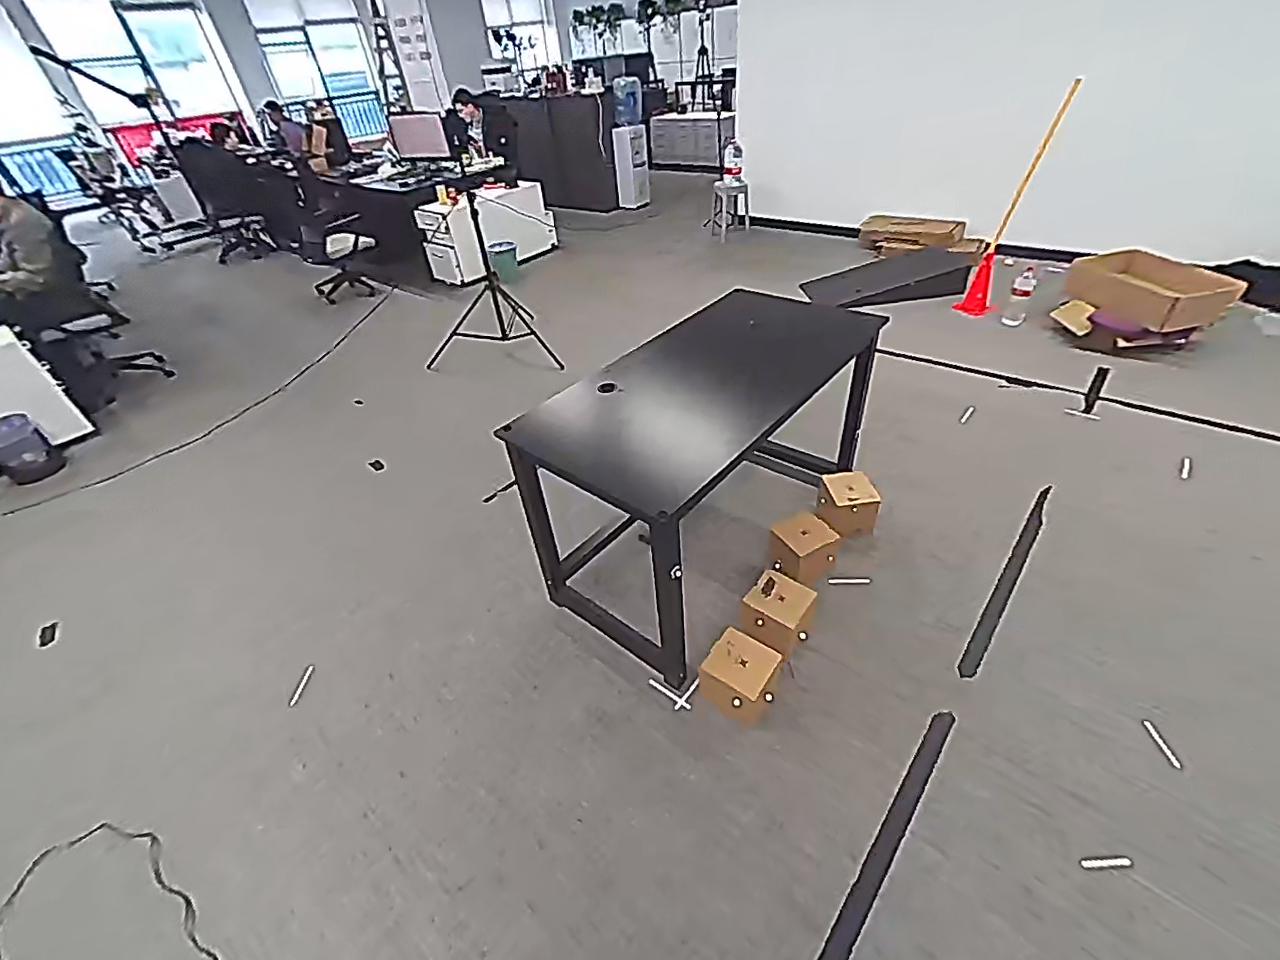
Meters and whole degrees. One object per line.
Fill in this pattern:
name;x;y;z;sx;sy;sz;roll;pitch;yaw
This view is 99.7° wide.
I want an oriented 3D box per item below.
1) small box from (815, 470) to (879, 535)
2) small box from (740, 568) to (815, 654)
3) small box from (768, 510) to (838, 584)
small box;0.784;0.088;2.073;0.168;0.176;0.179;-8;39;-1
small box;0.432;0.420;1.722;0.179;0.176;0.168;26;49;31
small box;0.572;0.242;1.921;0.179;0.176;0.168;-23;42;-18
